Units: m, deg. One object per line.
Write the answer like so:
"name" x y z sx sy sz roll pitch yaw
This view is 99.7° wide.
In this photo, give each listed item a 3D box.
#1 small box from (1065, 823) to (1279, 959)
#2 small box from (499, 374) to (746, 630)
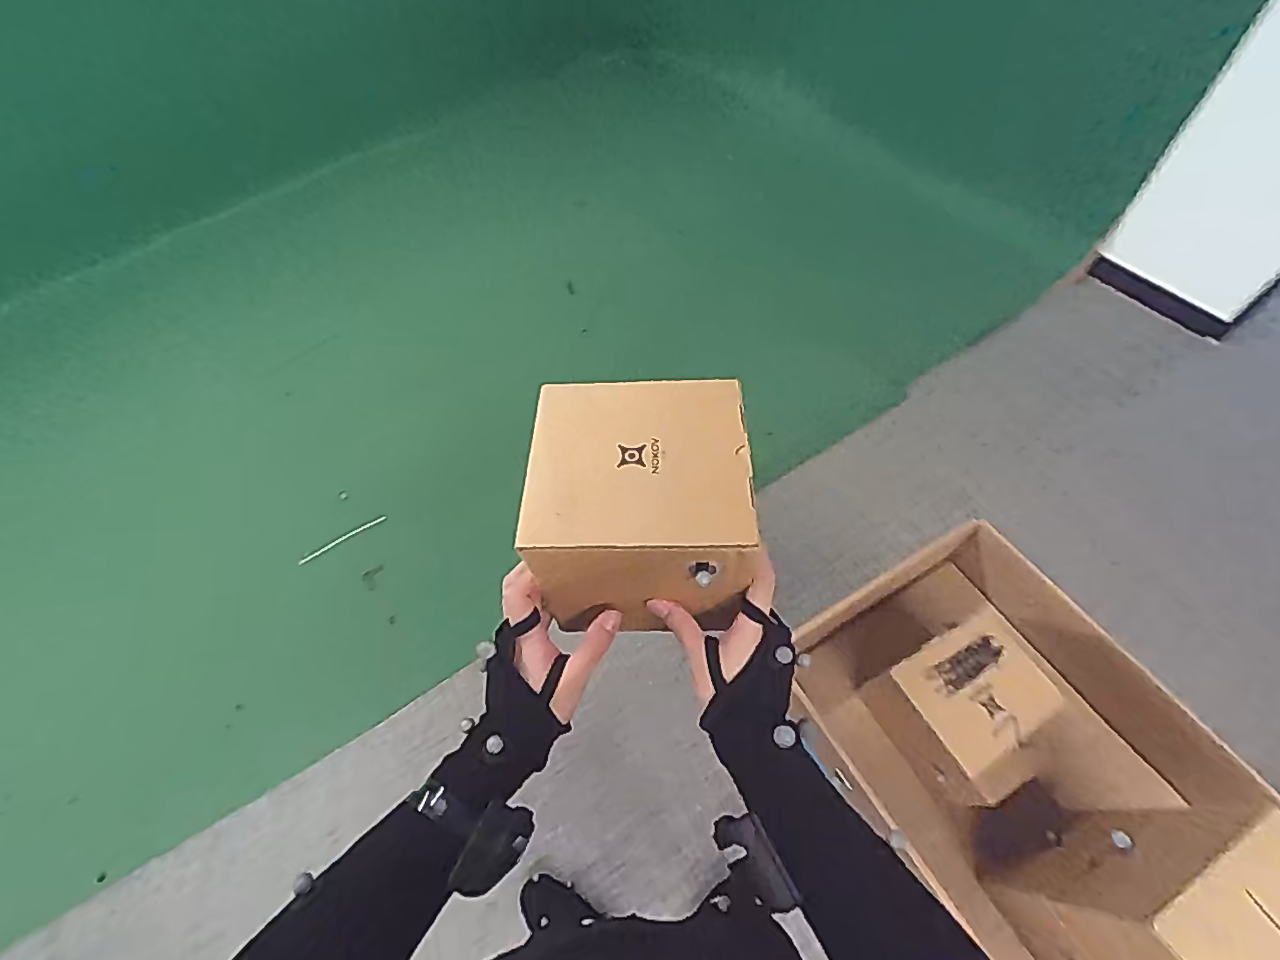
"small box" 0.533 0.420 0.460 0.168 0.176 0.179 -29 58 -11
"small box" -0.007 0.026 0.484 0.179 0.176 0.168 -2 53 3
